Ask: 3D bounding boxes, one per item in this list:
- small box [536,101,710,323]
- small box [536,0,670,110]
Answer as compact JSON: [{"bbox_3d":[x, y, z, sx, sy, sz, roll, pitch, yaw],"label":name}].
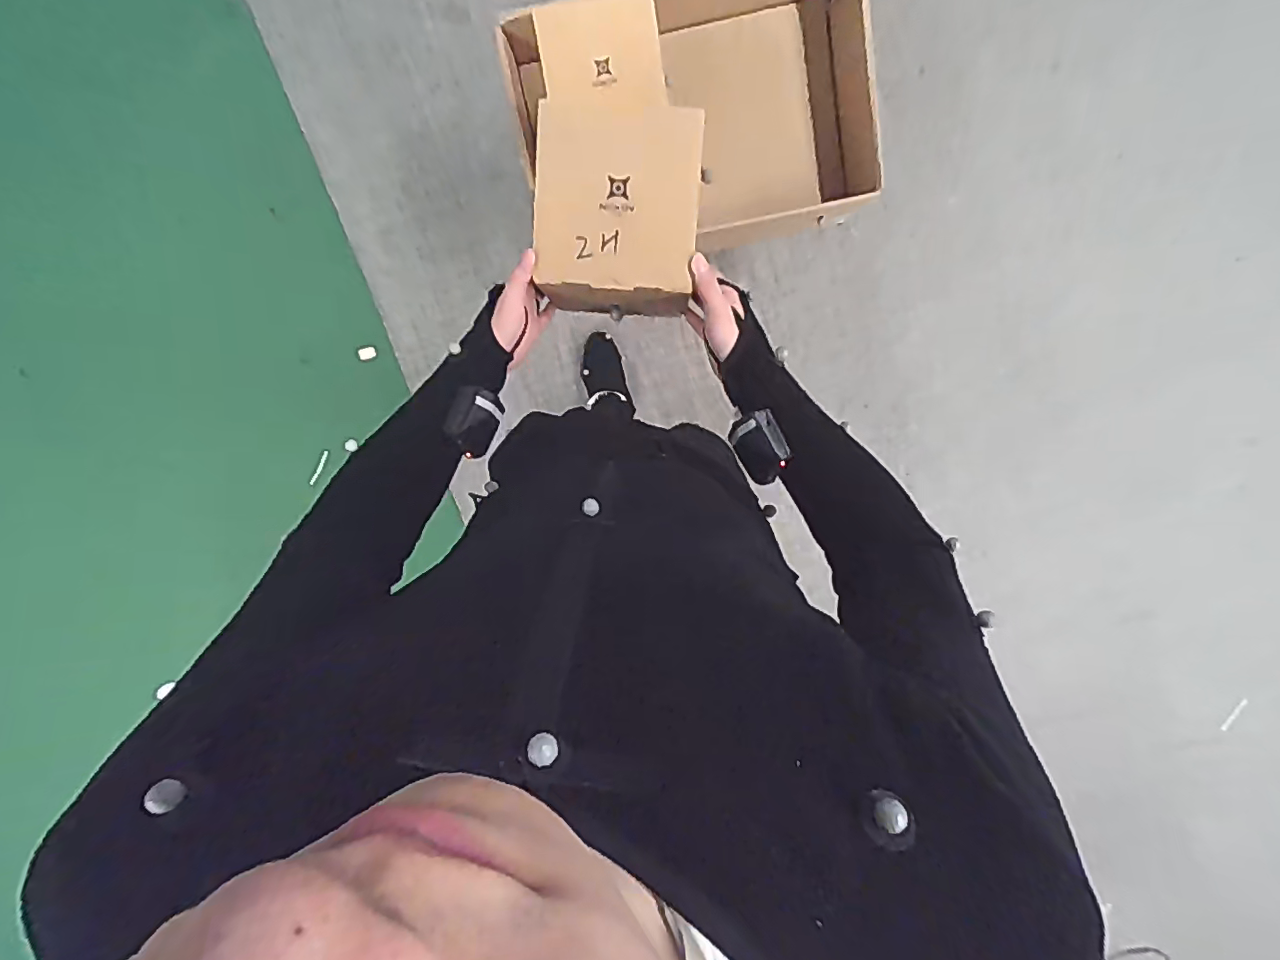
[{"bbox_3d":[-0.018,-0.289,0.618,0.168,0.176,0.179,4,97,1],"label":"small box"},{"bbox_3d":[-0.050,-0.568,0.814,0.168,0.176,0.179,-10,104,0],"label":"small box"}]
